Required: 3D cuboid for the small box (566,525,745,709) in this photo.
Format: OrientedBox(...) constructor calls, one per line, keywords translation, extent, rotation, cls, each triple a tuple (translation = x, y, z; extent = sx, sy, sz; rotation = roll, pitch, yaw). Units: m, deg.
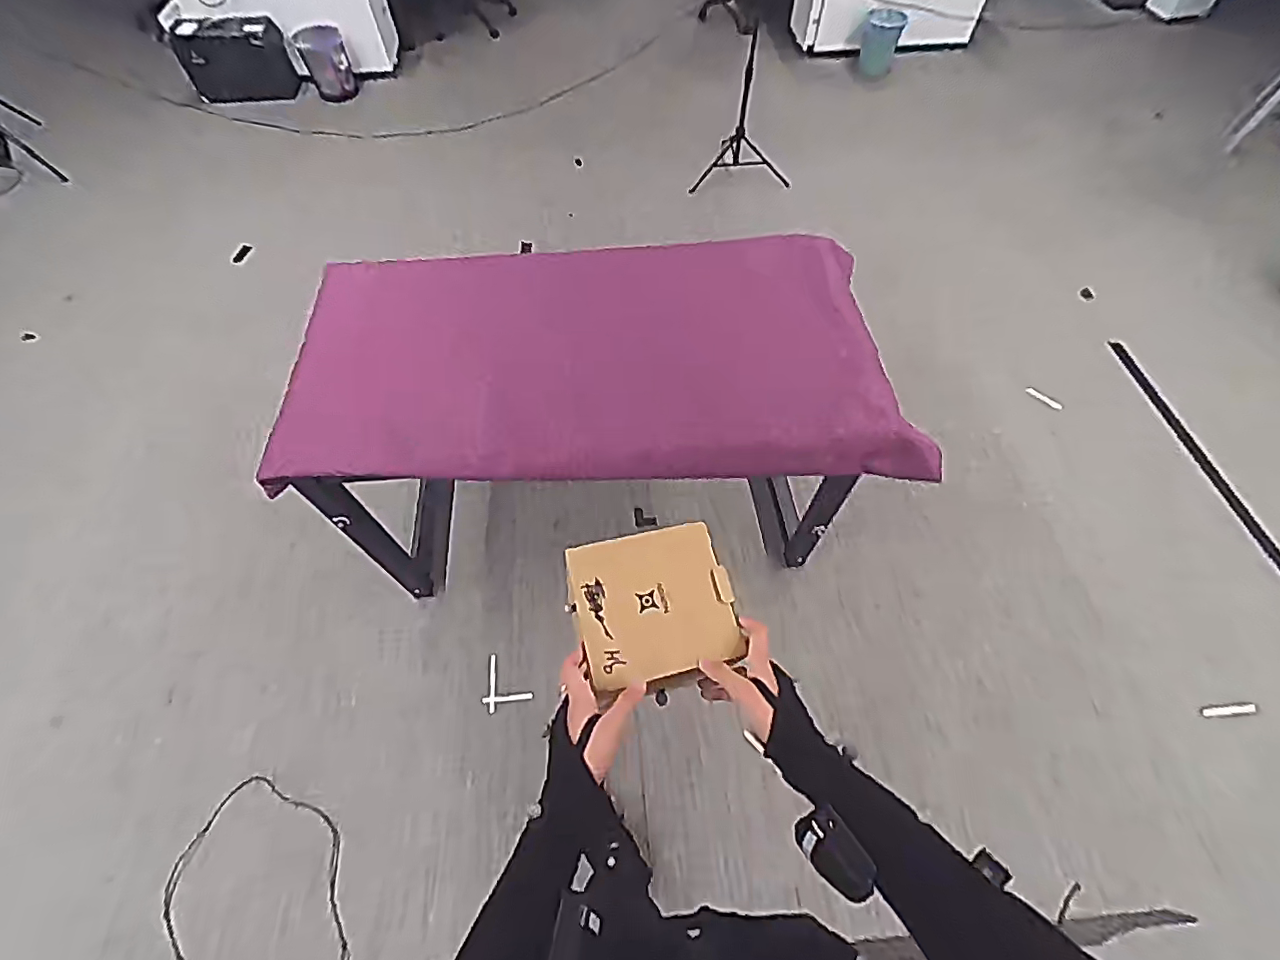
OrientedBox(translation=(0.006, 0.175, 0.677), extent=(0.179, 0.176, 0.168), rotation=(-10, 62, -12), cls="small box")
